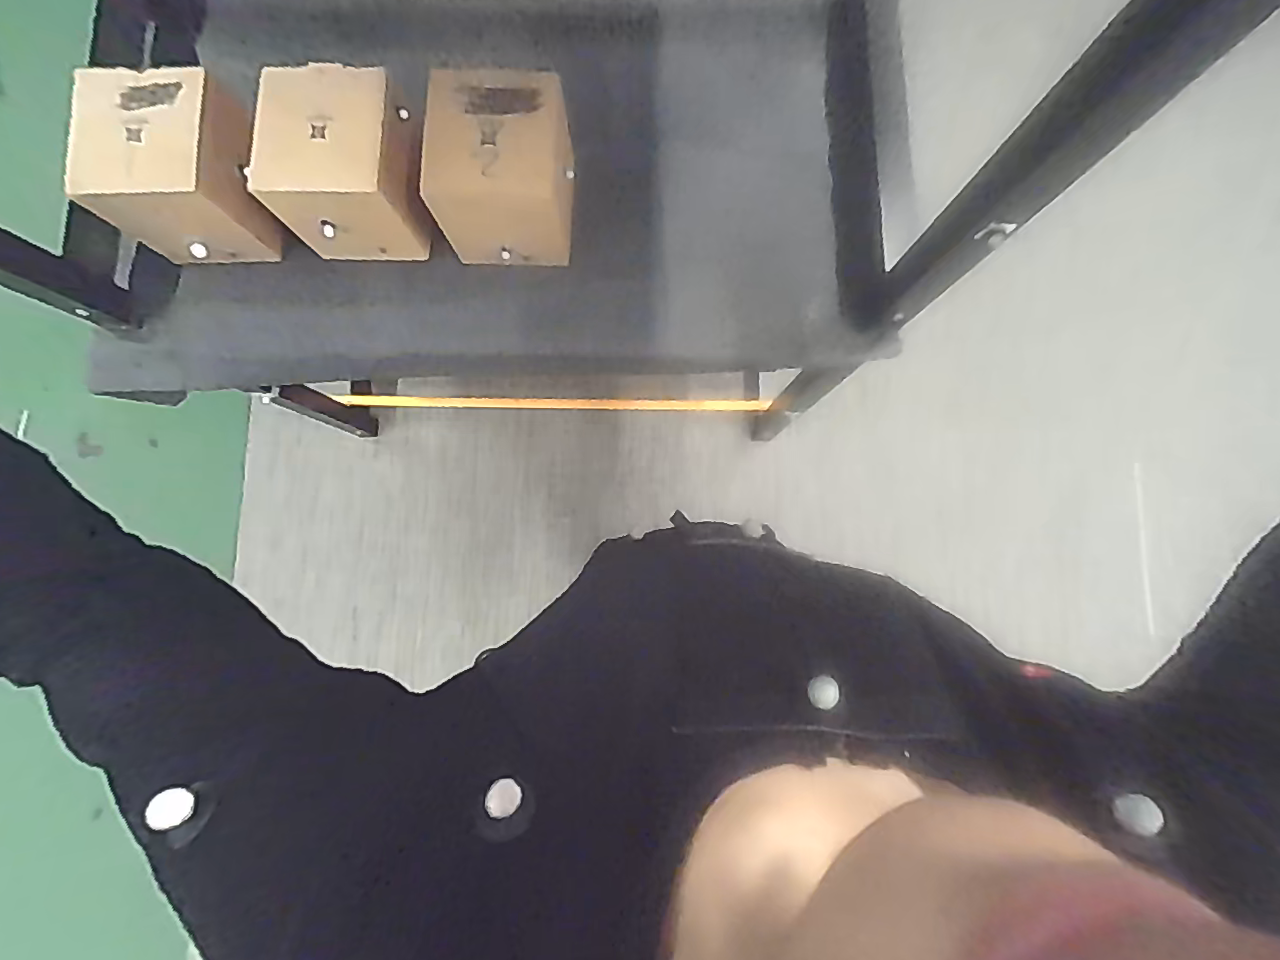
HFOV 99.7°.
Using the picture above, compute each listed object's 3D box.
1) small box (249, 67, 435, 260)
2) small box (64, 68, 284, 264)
[{"bbox_3d":[-0.402,-0.430,0.759,0.168,0.176,0.179,1,82,0],"label":"small box"},{"bbox_3d":[-0.629,-0.428,0.757,0.168,0.176,0.179,-2,82,0],"label":"small box"}]
